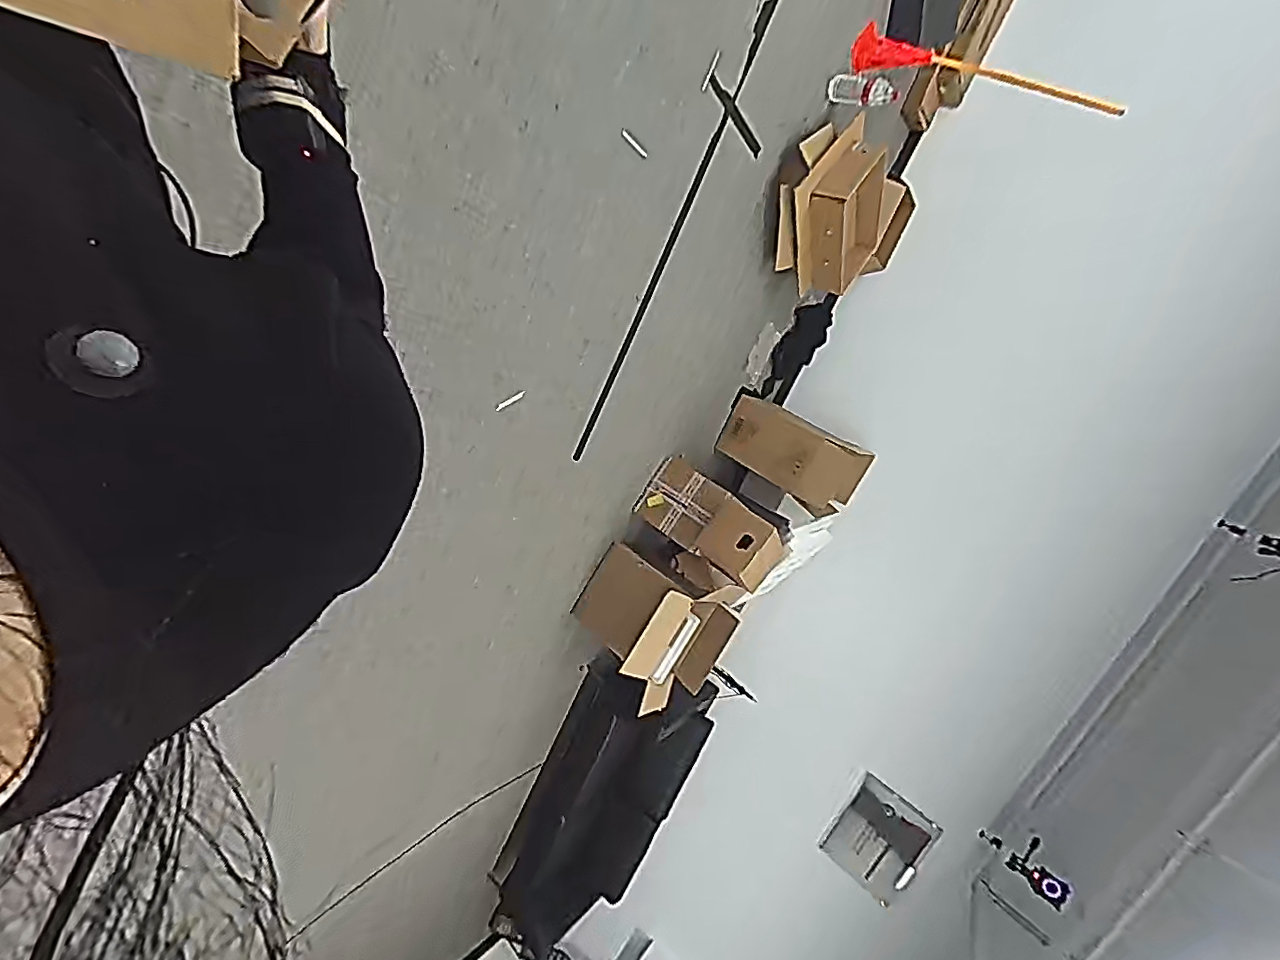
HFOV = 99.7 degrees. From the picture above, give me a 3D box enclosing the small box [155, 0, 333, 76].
[{"bbox_3d":[-0.280,-0.395,0.322,0.168,0.176,0.179,-54,146,3],"label":"small box"}]
